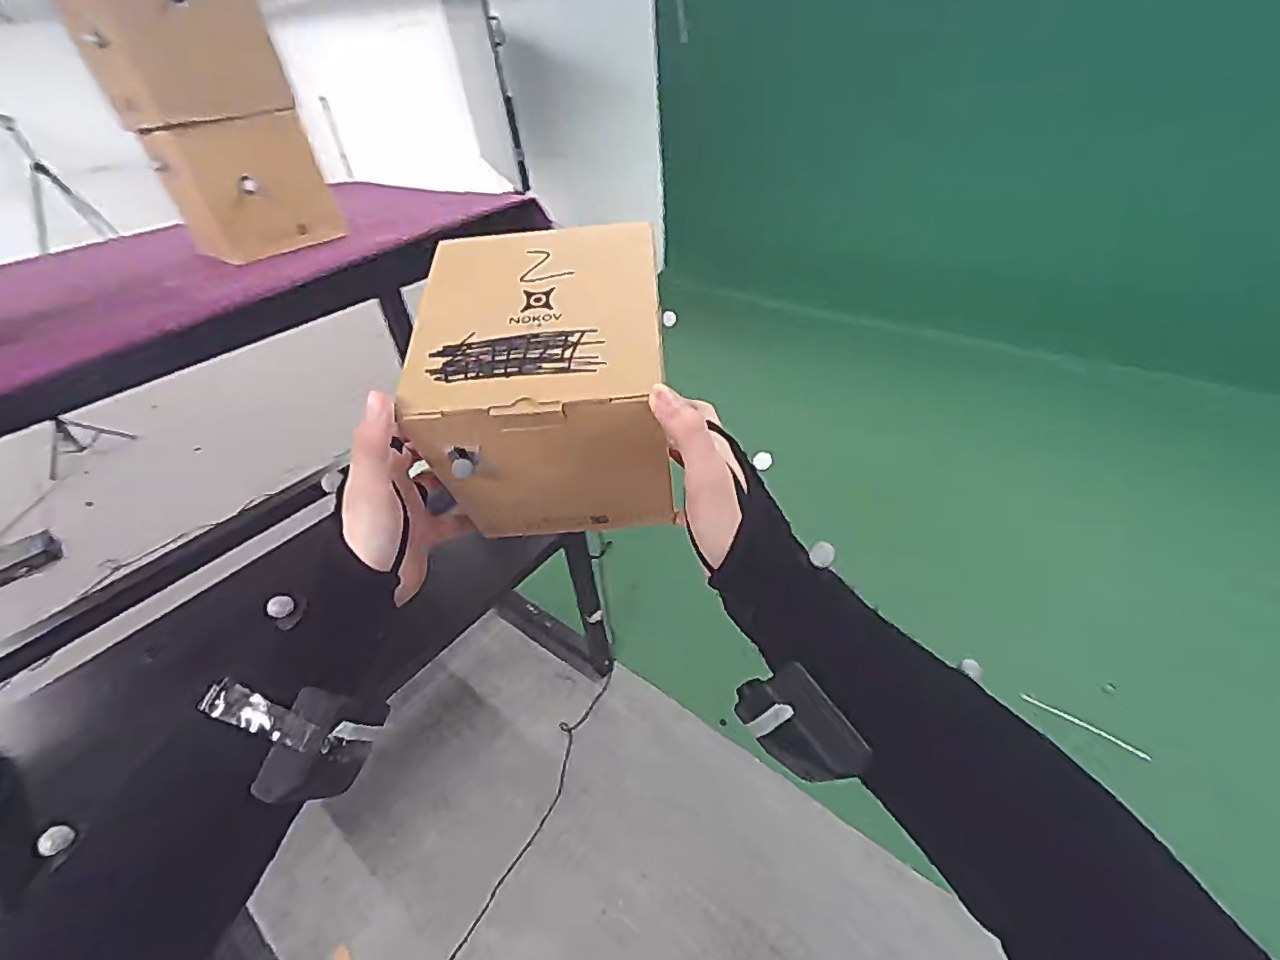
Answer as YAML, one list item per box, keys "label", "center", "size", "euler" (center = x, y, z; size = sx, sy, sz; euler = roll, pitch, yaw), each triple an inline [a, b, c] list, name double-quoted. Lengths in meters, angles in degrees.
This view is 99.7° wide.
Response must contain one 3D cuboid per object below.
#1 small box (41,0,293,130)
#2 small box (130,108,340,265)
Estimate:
- label: "small box"
  center: [-0.593, -0.552, 0.685]
  size: [0.168, 0.176, 0.179]
  euler: [22, 47, 32]
- label: "small box"
  center: [-0.581, -0.428, 0.792]
  size: [0.179, 0.176, 0.168]
  euler: [24, 48, 35]
